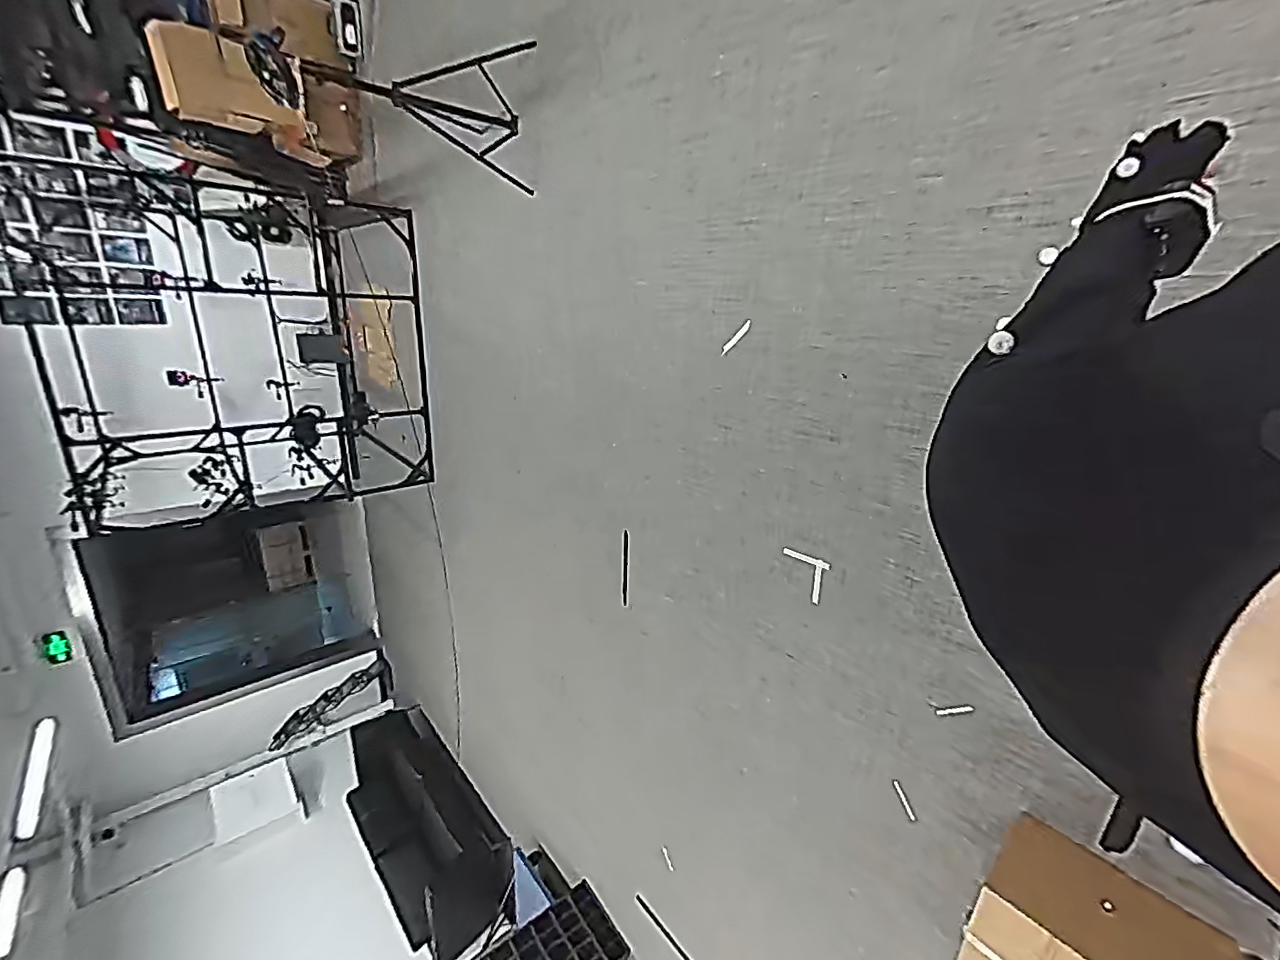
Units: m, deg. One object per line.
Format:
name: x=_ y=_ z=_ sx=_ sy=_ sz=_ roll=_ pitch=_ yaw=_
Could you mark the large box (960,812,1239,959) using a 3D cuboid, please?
large box: x=1.027 y=1.084 z=1.238 sx=0.408 sy=0.320 sz=0.320 roll=22 pitch=116 yaw=45
